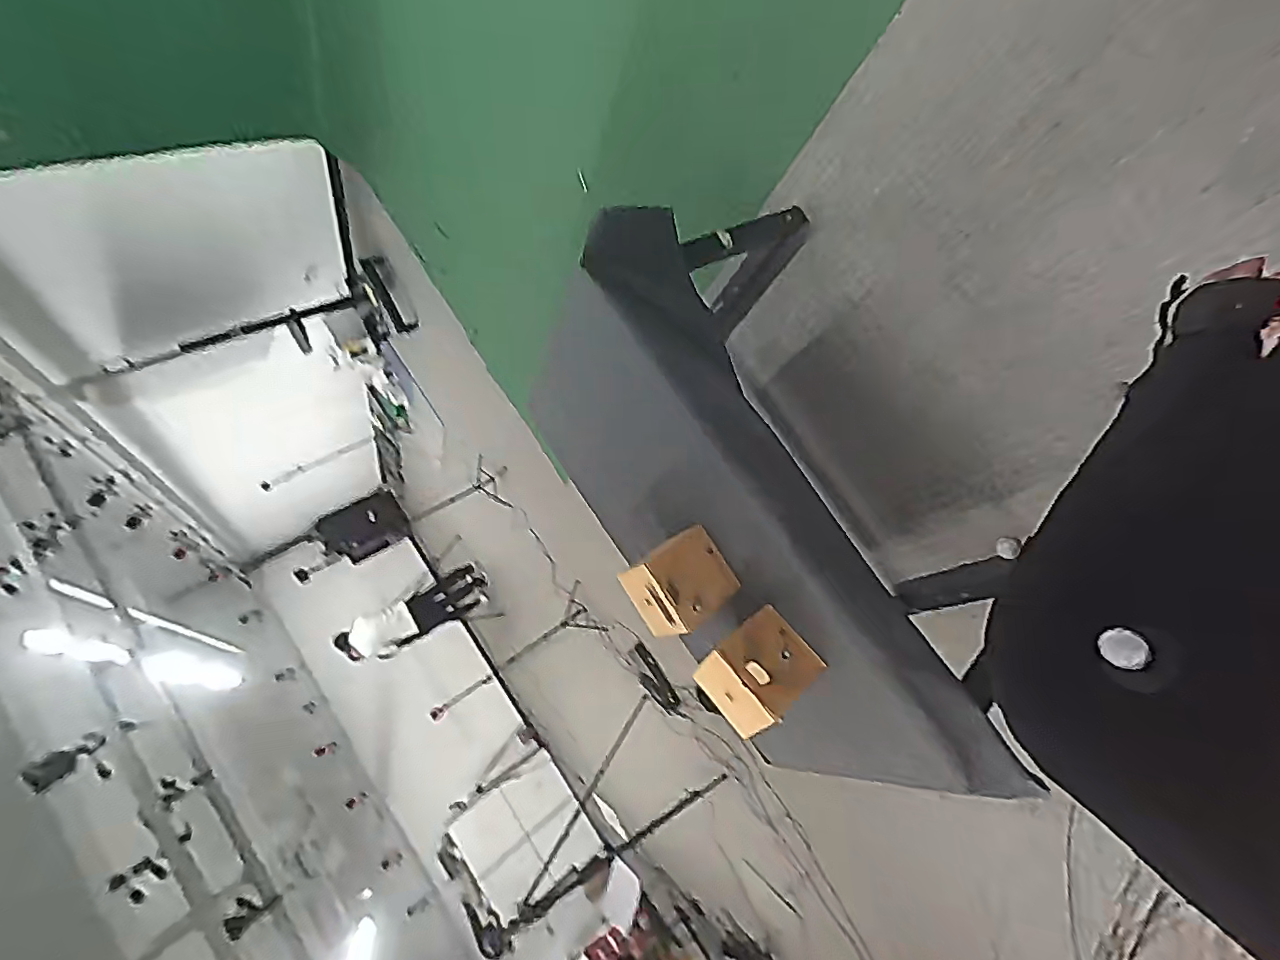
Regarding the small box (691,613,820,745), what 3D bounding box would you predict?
[{"bbox_3d":[0.237,0.407,1.115,0.168,0.176,0.179,48,147,21],"label":"small box"}]
